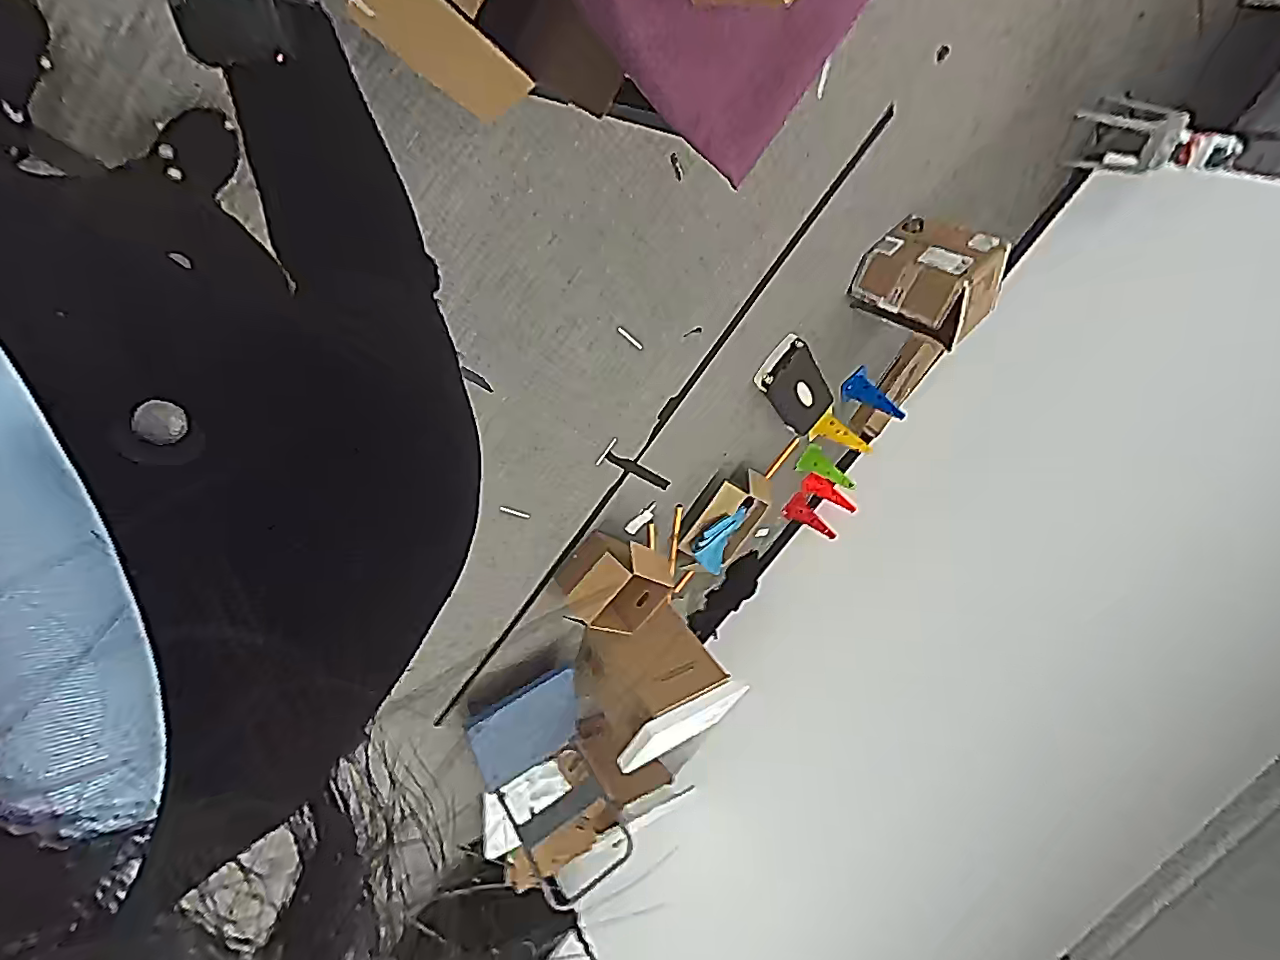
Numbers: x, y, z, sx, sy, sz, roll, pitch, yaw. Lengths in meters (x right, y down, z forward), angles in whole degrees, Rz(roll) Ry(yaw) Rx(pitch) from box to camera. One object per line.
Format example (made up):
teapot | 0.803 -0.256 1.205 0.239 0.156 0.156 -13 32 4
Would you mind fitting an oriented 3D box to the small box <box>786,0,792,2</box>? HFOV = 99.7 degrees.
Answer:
small box | 0.126 -0.664 0.577 0.168 0.176 0.179 -50 145 4
